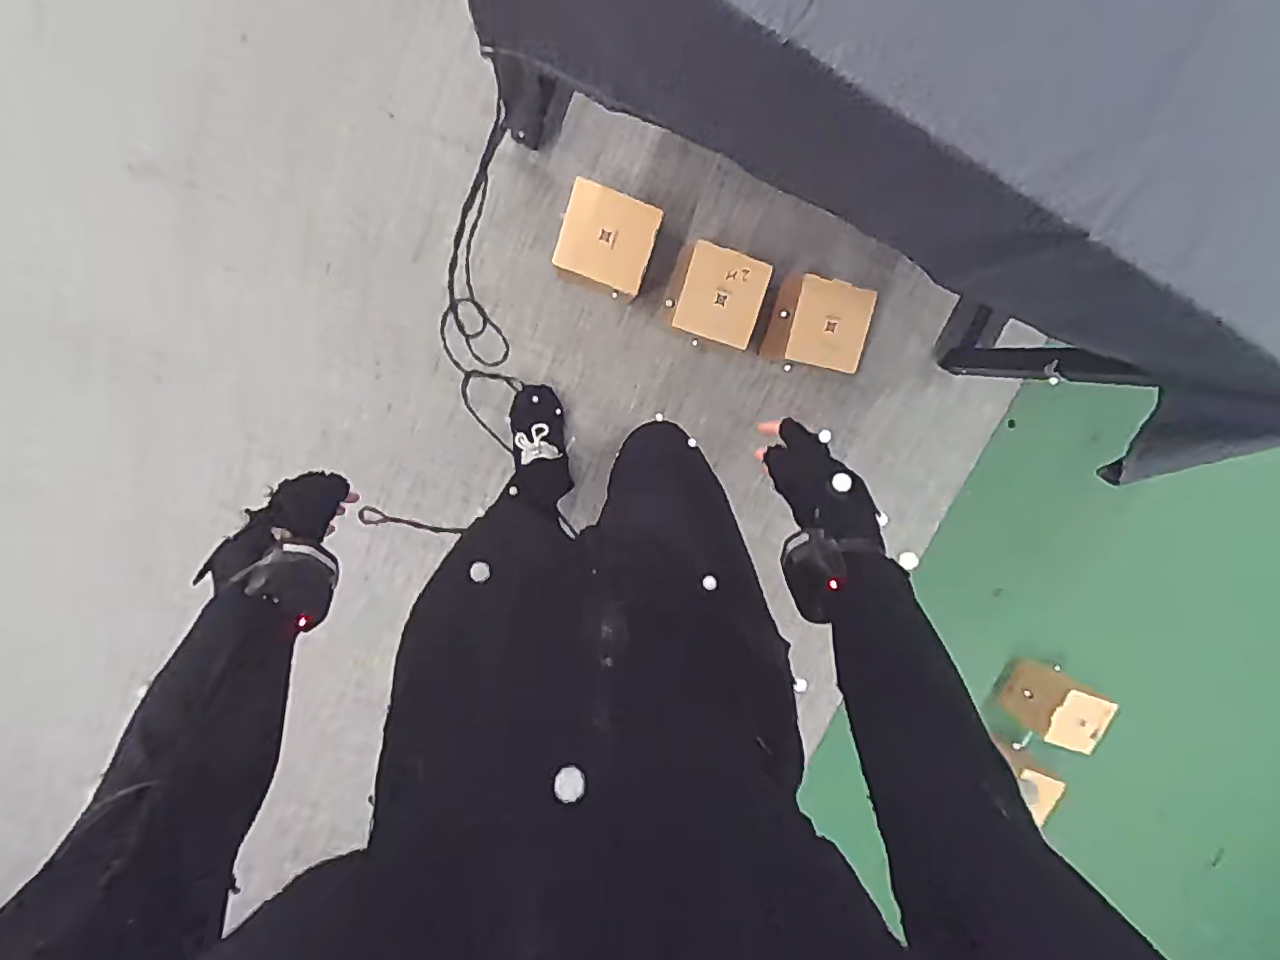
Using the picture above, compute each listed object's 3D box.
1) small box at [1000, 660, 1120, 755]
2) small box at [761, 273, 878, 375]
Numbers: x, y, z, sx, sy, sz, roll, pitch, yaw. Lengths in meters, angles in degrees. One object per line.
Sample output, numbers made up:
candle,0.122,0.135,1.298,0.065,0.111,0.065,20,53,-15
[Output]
small box,1.186,0.641,1.544,0.179,0.176,0.168,21,100,-11
small box,0.384,-0.336,1.189,0.168,0.176,0.179,10,101,-10
